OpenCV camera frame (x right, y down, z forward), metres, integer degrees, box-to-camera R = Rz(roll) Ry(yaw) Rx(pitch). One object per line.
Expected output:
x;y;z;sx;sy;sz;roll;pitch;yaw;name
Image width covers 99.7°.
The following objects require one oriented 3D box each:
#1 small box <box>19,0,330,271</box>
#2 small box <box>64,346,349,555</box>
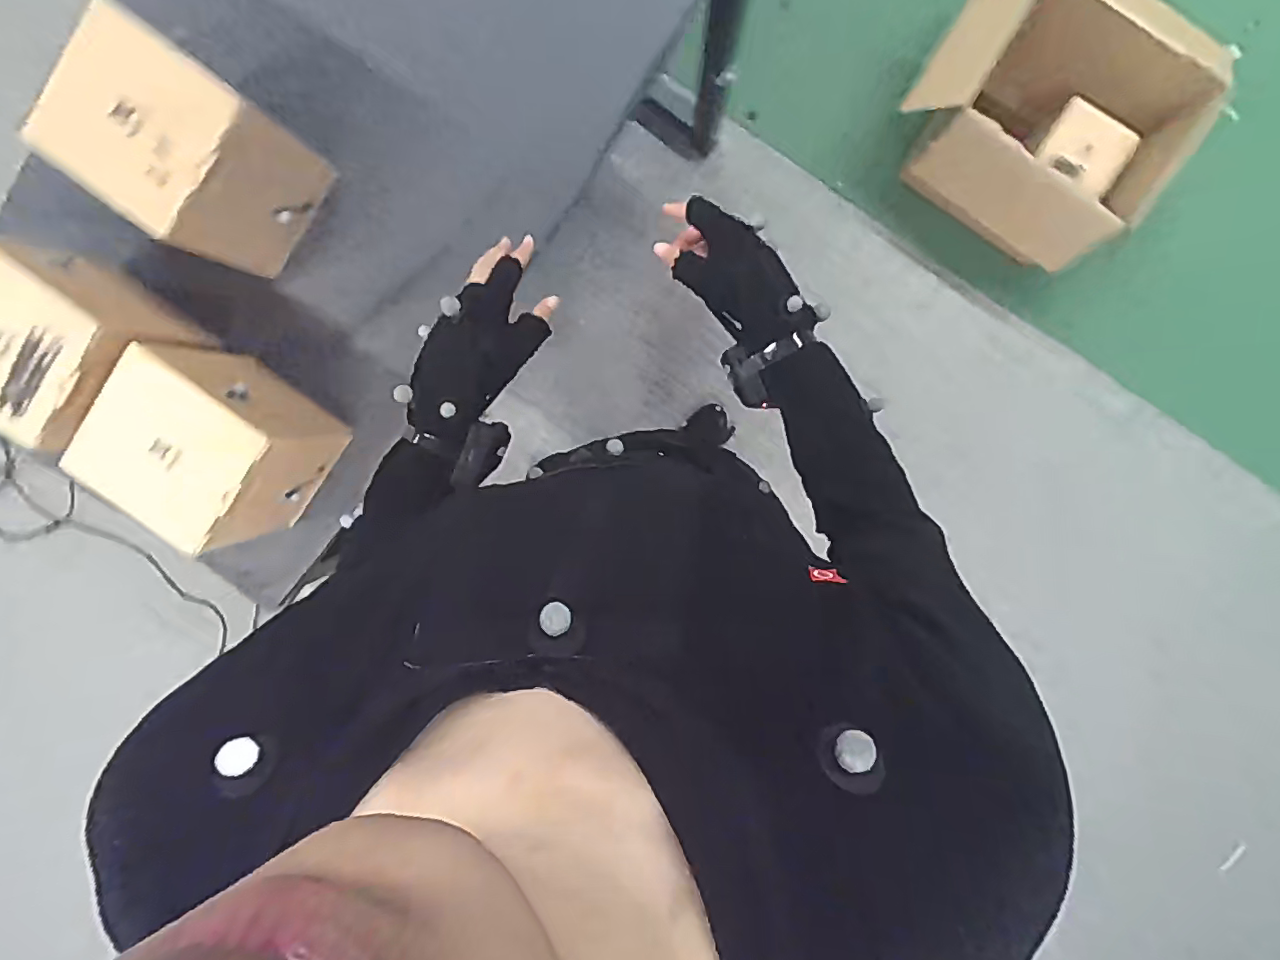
-0.513;-0.371;0.624;0.179;0.176;0.168;36;97;-3;small box
-0.511;-0.038;0.665;0.179;0.176;0.168;36;97;-3;small box
